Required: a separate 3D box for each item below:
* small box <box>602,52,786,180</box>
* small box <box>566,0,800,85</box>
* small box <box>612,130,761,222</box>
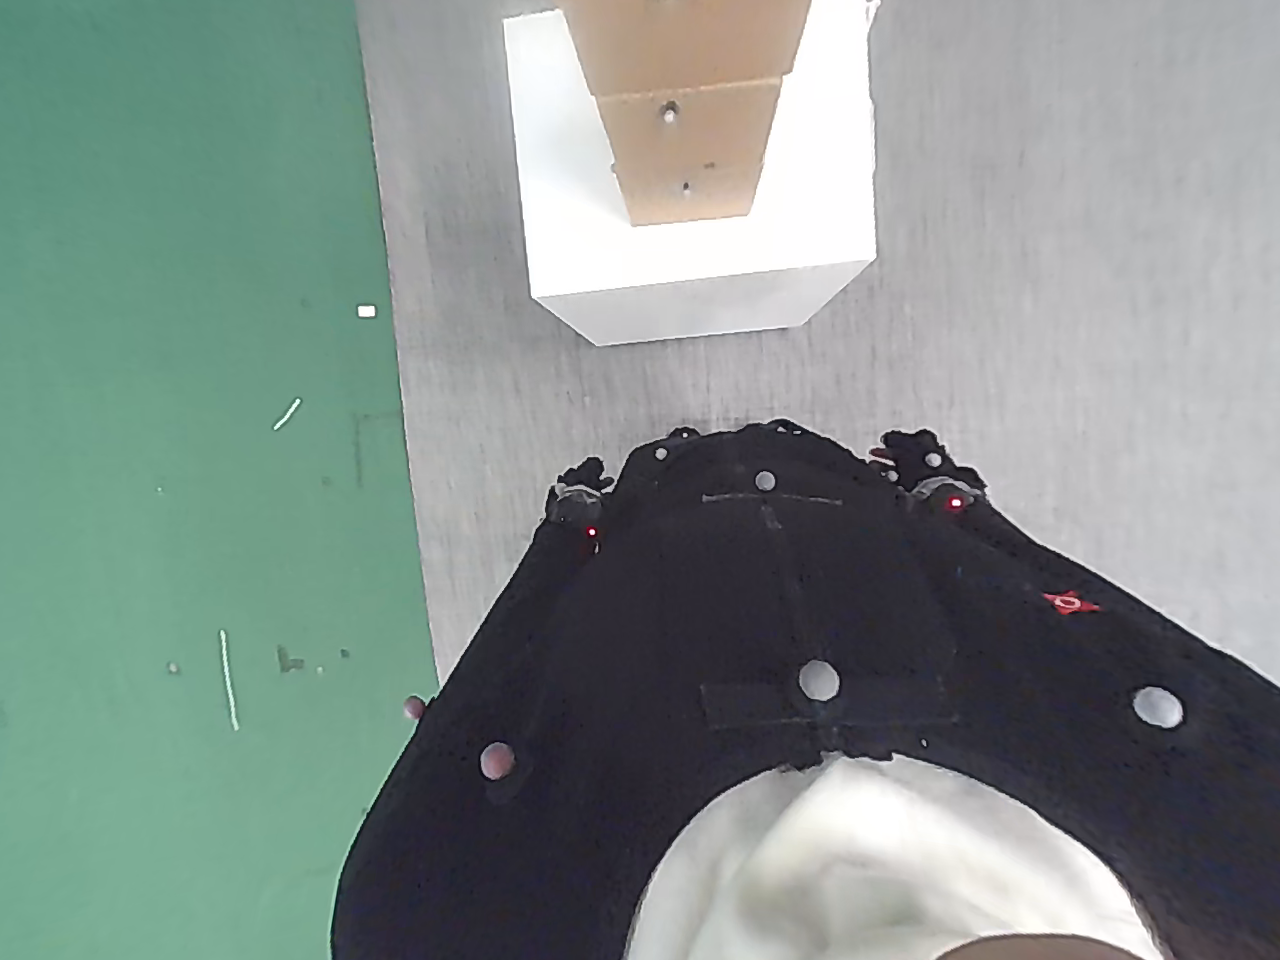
[{"bbox_3d":[0.047,-0.437,0.548,0.168,0.176,0.179,-4,97,5],"label":"small box"},{"bbox_3d":[0.029,-0.418,0.384,0.179,0.176,0.168,-1,97,6],"label":"small box"},{"bbox_3d":[0.059,-0.455,0.708,0.179,0.176,0.168,-3,96,5],"label":"small box"}]
